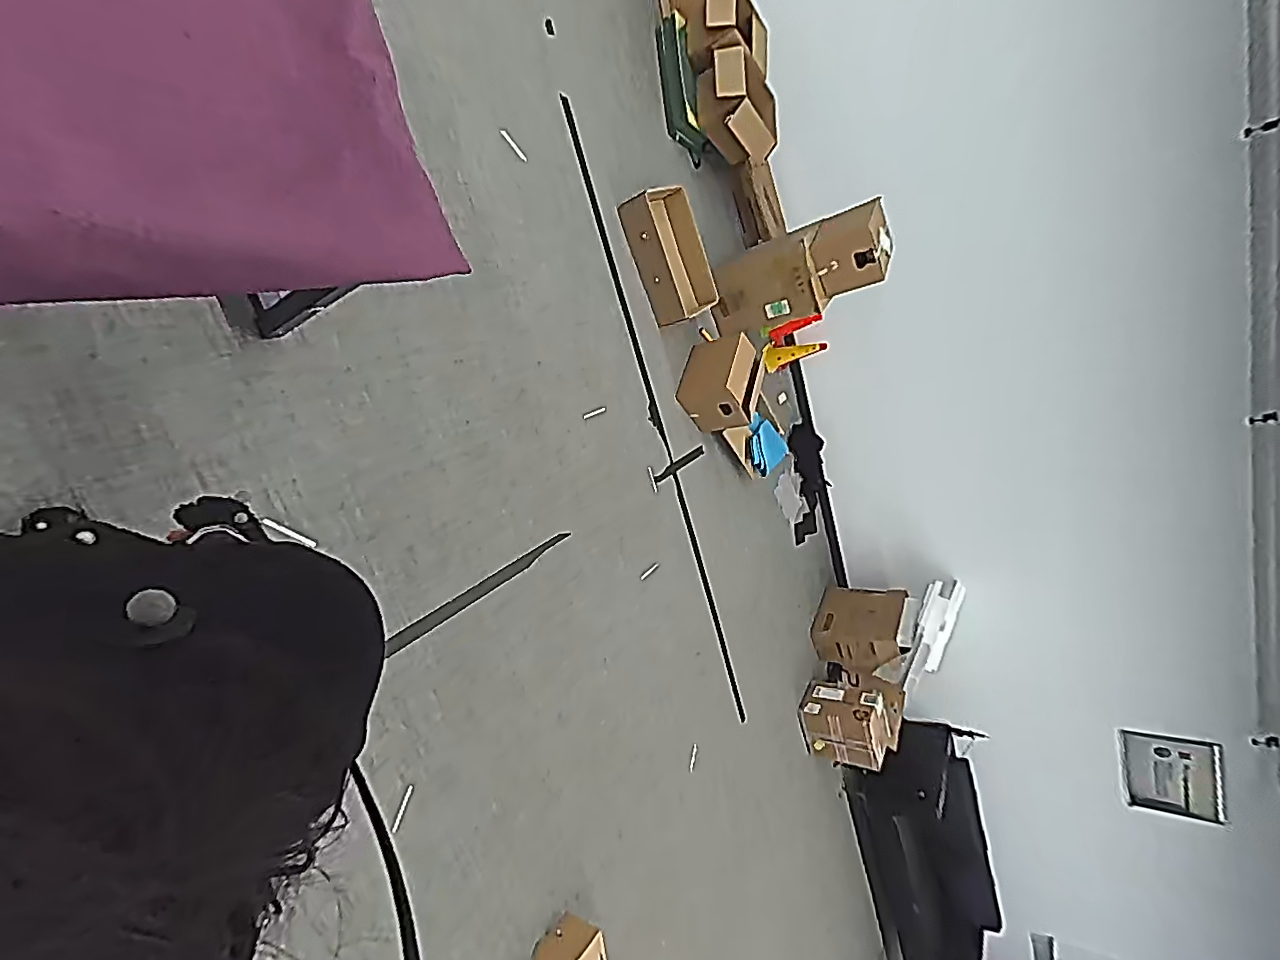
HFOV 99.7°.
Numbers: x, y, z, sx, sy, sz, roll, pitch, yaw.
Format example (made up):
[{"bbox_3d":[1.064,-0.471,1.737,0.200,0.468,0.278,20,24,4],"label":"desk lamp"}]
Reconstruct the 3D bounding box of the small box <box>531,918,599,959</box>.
[{"bbox_3d":[-0.263,1.697,1.886,0.179,0.176,0.168,-13,96,-53],"label":"small box"}]
